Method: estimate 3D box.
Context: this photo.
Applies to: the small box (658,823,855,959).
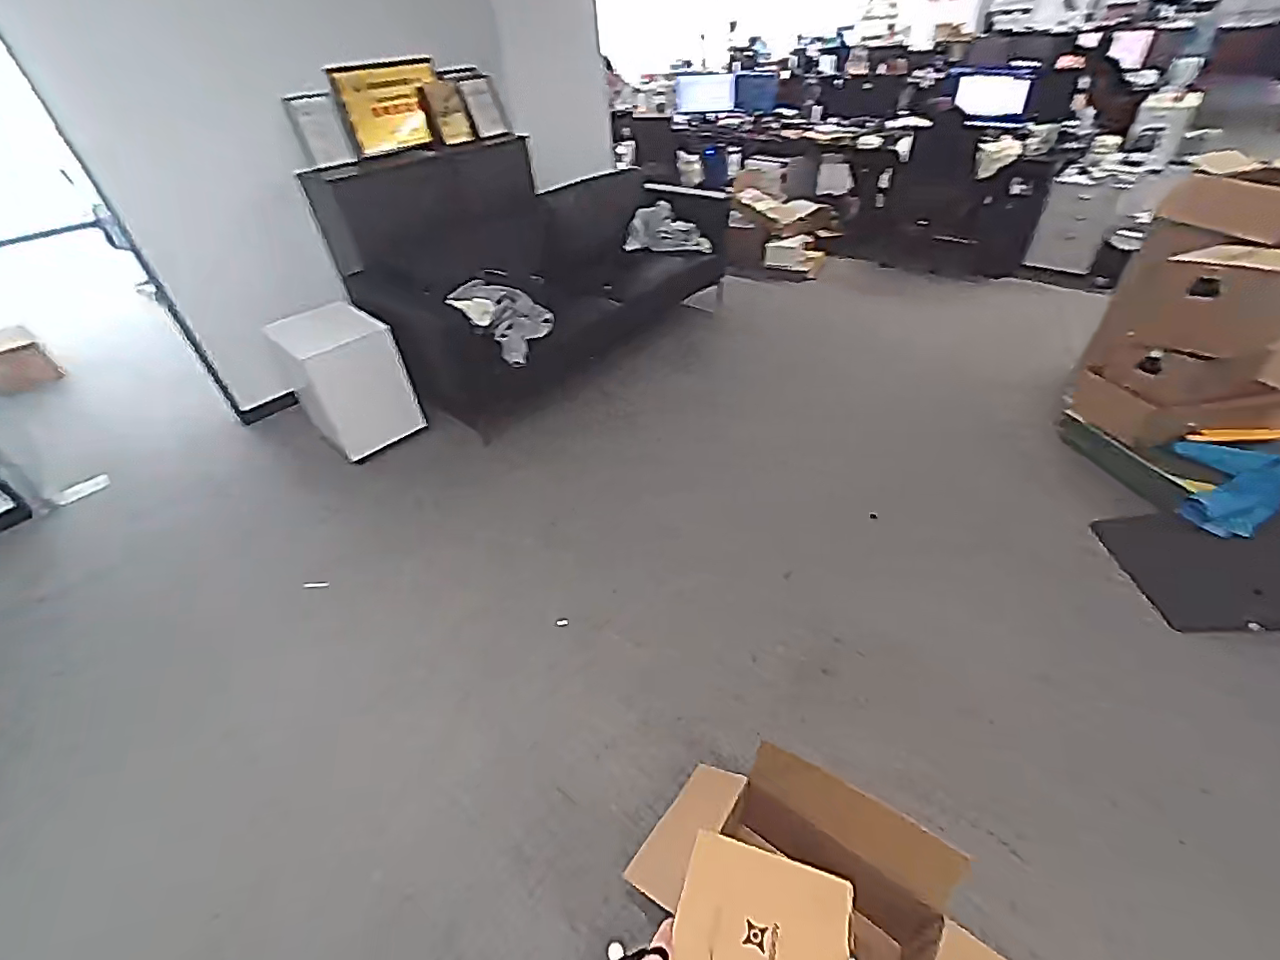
[{"bbox_3d":[0.126,0.528,0.589,0.179,0.176,0.168,8,31,22],"label":"small box"}]
